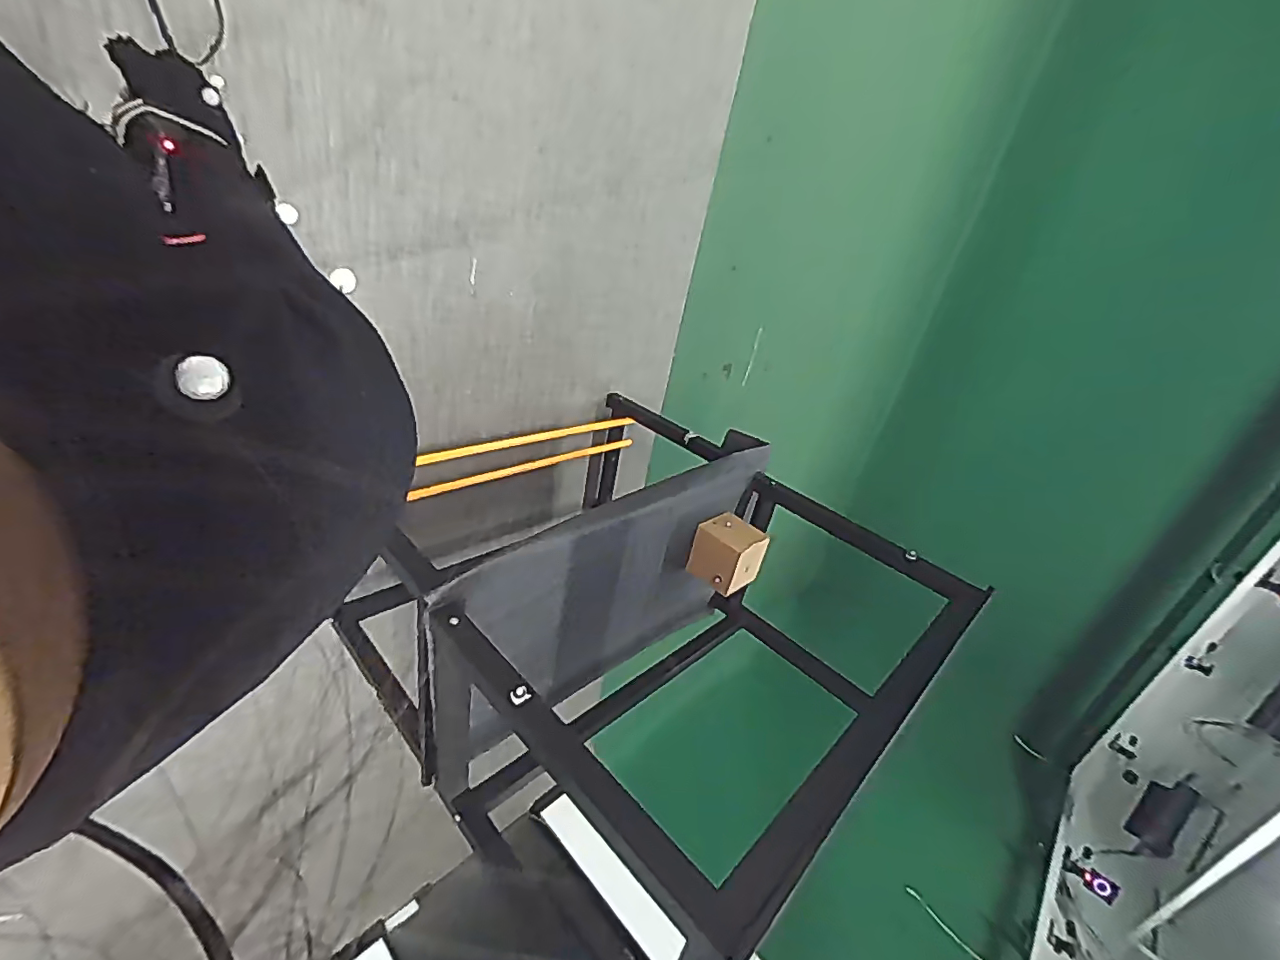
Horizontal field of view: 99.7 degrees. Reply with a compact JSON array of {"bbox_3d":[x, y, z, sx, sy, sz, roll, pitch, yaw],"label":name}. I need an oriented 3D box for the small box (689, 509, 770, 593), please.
[{"bbox_3d":[0.277,0.221,1.716,0.168,0.176,0.179,-18,131,-44],"label":"small box"}]
